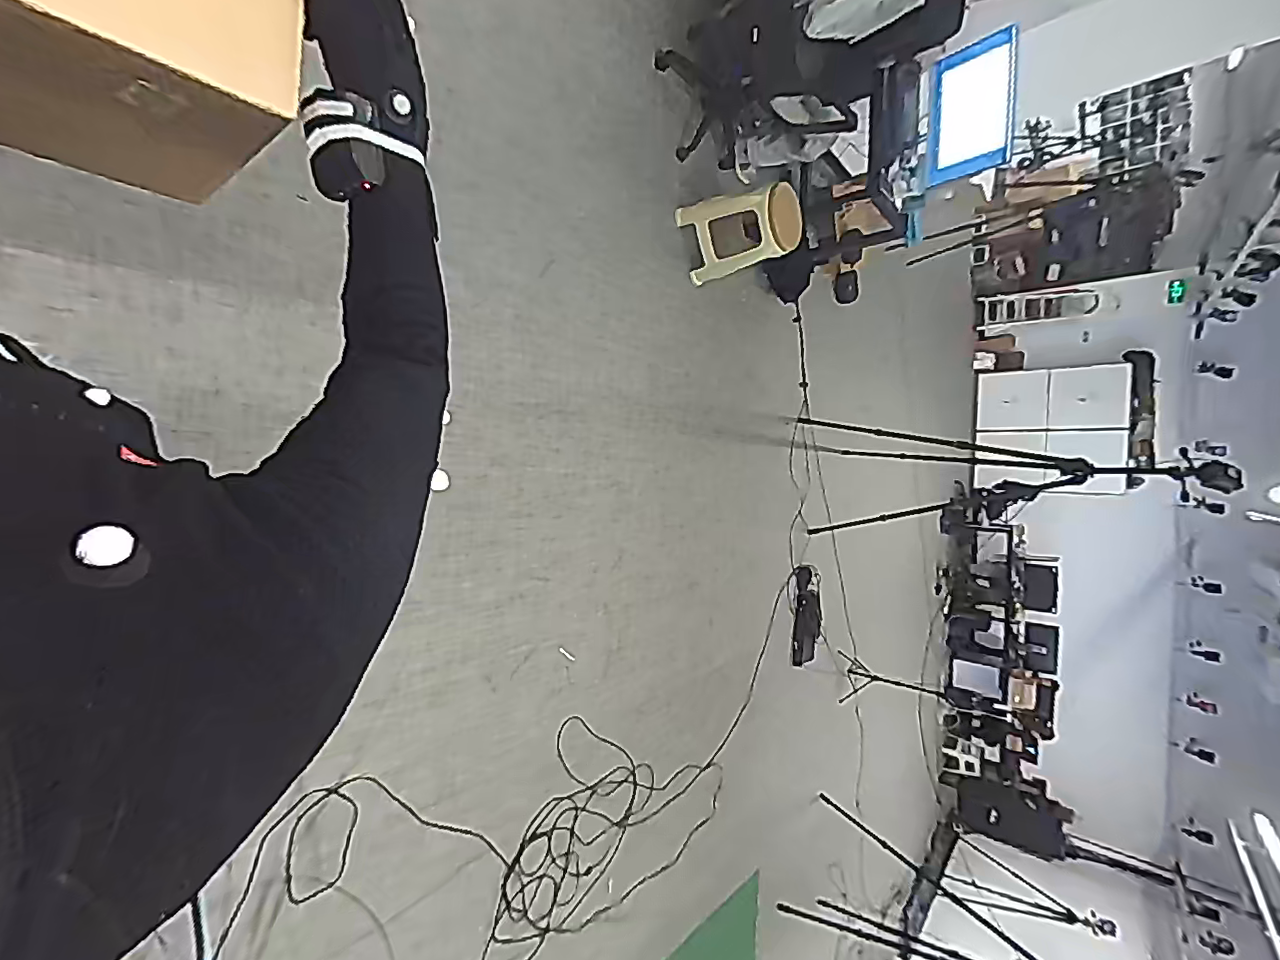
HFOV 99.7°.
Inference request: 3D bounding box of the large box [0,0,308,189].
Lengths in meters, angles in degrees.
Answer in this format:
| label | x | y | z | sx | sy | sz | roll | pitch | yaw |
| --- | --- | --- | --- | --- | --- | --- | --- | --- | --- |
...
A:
| label | x | y | z | sx | sy | sz | roll | pitch | yaw |
| --- | --- | --- | --- | --- | --- | --- | --- | --- | --- |
| large box | -0.475 | -0.437 | 0.325 | 0.408 | 0.320 | 0.320 | -1 | 99 | -50 |
